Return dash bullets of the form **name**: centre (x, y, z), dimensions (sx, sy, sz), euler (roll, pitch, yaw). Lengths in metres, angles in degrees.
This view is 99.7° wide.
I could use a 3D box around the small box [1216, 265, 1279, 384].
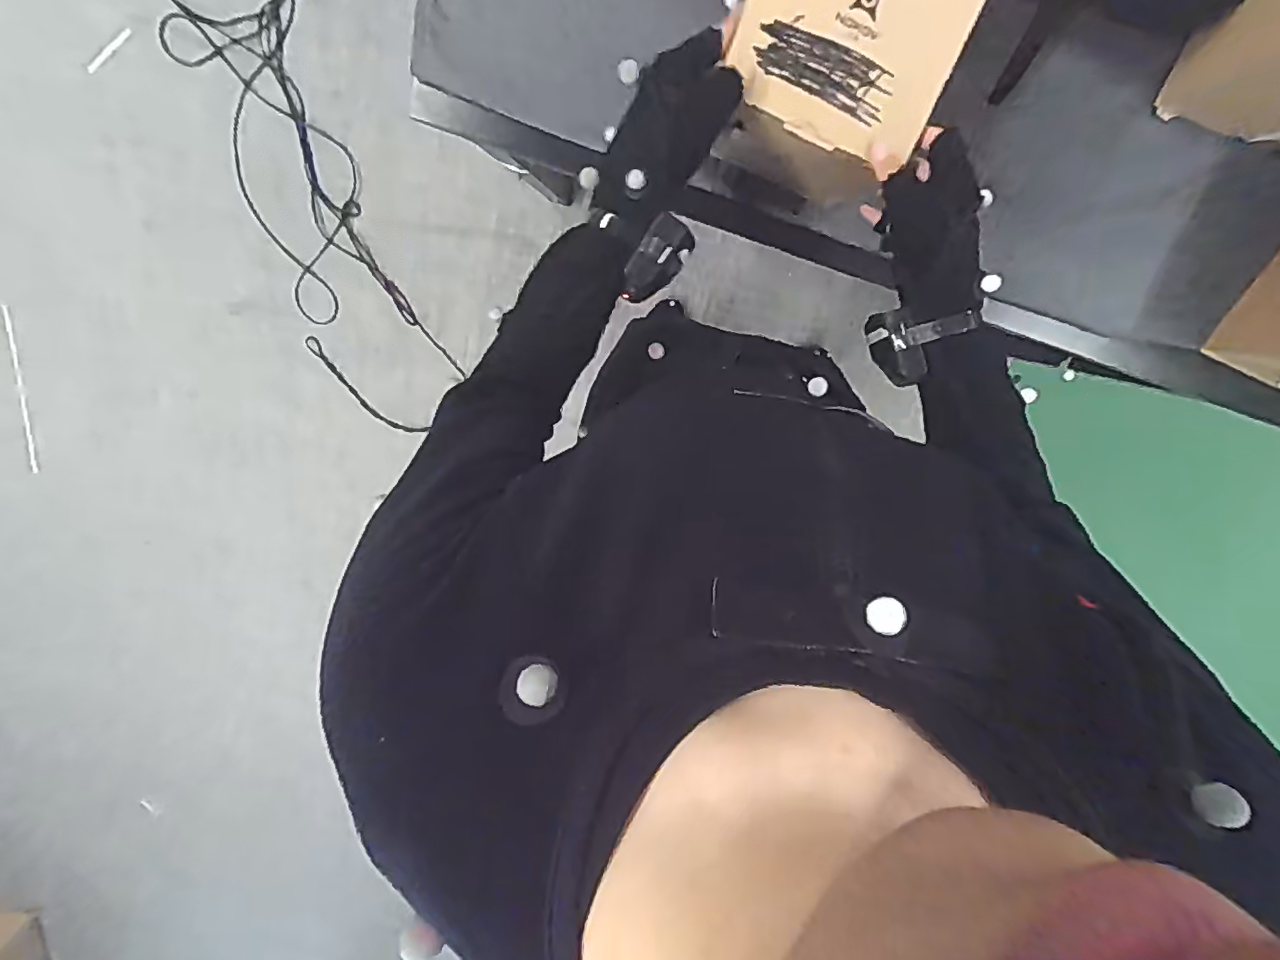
- **small box**: centre (0.792, -0.177, 0.562), dimensions (0.168, 0.176, 0.179), euler (22, 112, -5)
